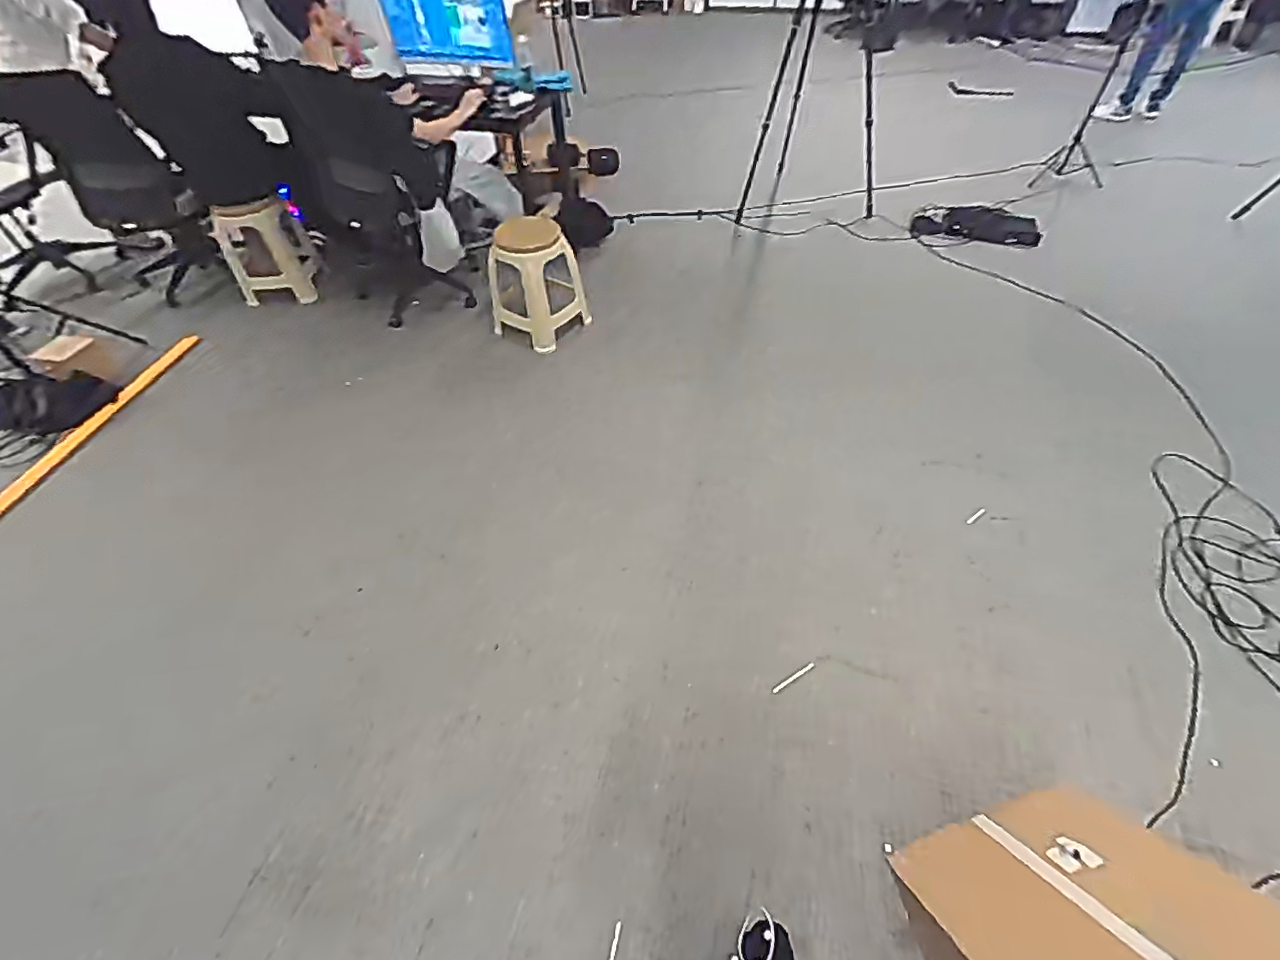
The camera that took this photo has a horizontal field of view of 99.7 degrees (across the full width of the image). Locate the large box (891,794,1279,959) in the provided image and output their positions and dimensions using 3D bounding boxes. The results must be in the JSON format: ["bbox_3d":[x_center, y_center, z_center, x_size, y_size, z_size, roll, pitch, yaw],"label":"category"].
[{"bbox_3d":[0.589,0.666,0.637,0.320,0.408,0.320,-18,85,-4],"label":"large box"}]
